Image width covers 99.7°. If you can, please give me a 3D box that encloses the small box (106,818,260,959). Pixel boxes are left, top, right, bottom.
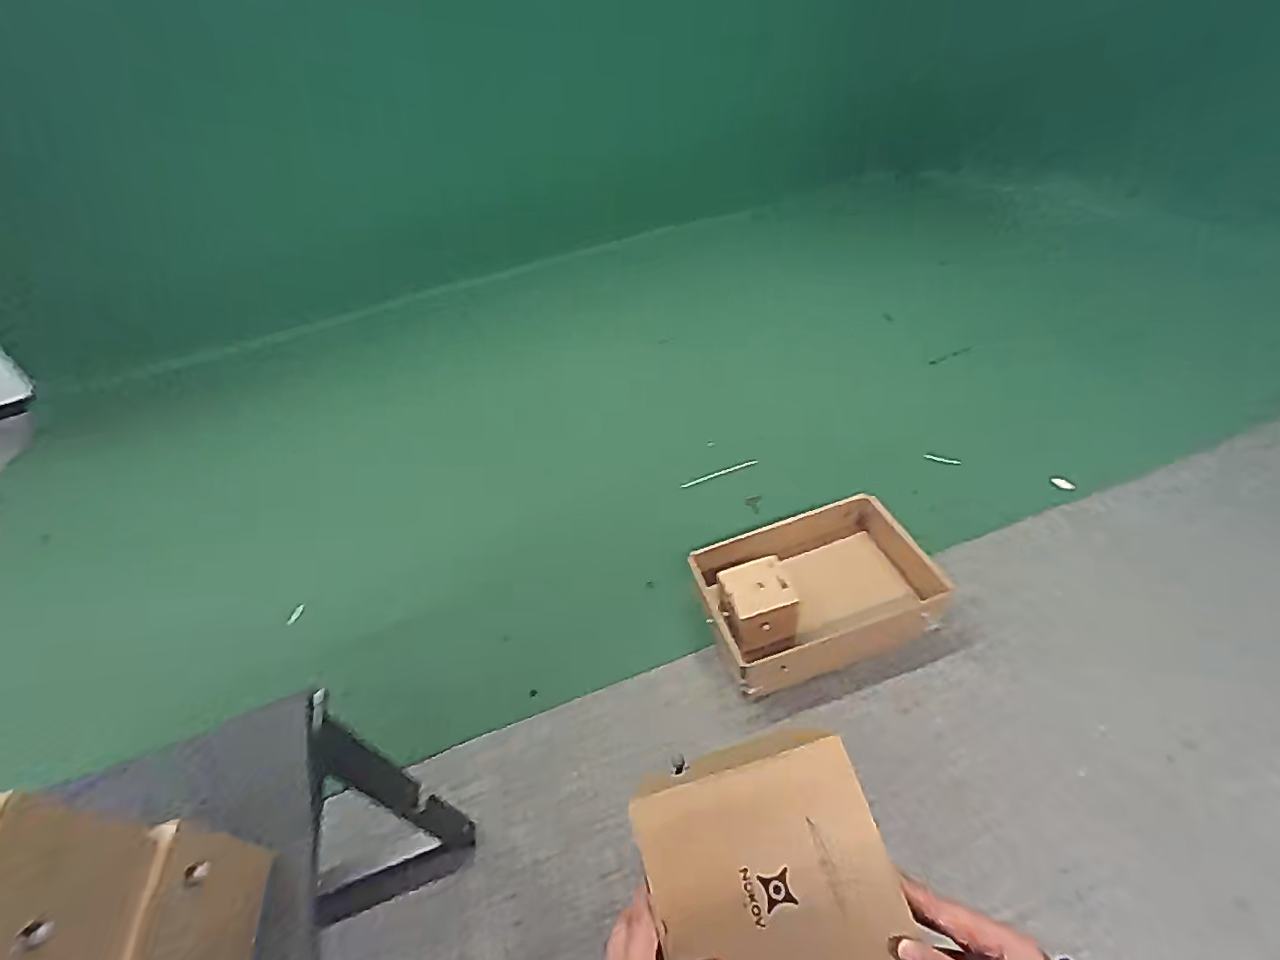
[{"bbox_3d":[-0.543,0.494,0.566,0.168,0.176,0.179,-17,46,-4],"label":"small box"}]

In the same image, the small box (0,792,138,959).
[{"bbox_3d":[-0.575,0.393,0.439,0.168,0.176,0.179,-17,46,-5],"label":"small box"}]

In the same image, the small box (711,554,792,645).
[{"bbox_3d":[0.317,0.345,1.542,0.179,0.176,0.168,-17,46,-7],"label":"small box"}]
